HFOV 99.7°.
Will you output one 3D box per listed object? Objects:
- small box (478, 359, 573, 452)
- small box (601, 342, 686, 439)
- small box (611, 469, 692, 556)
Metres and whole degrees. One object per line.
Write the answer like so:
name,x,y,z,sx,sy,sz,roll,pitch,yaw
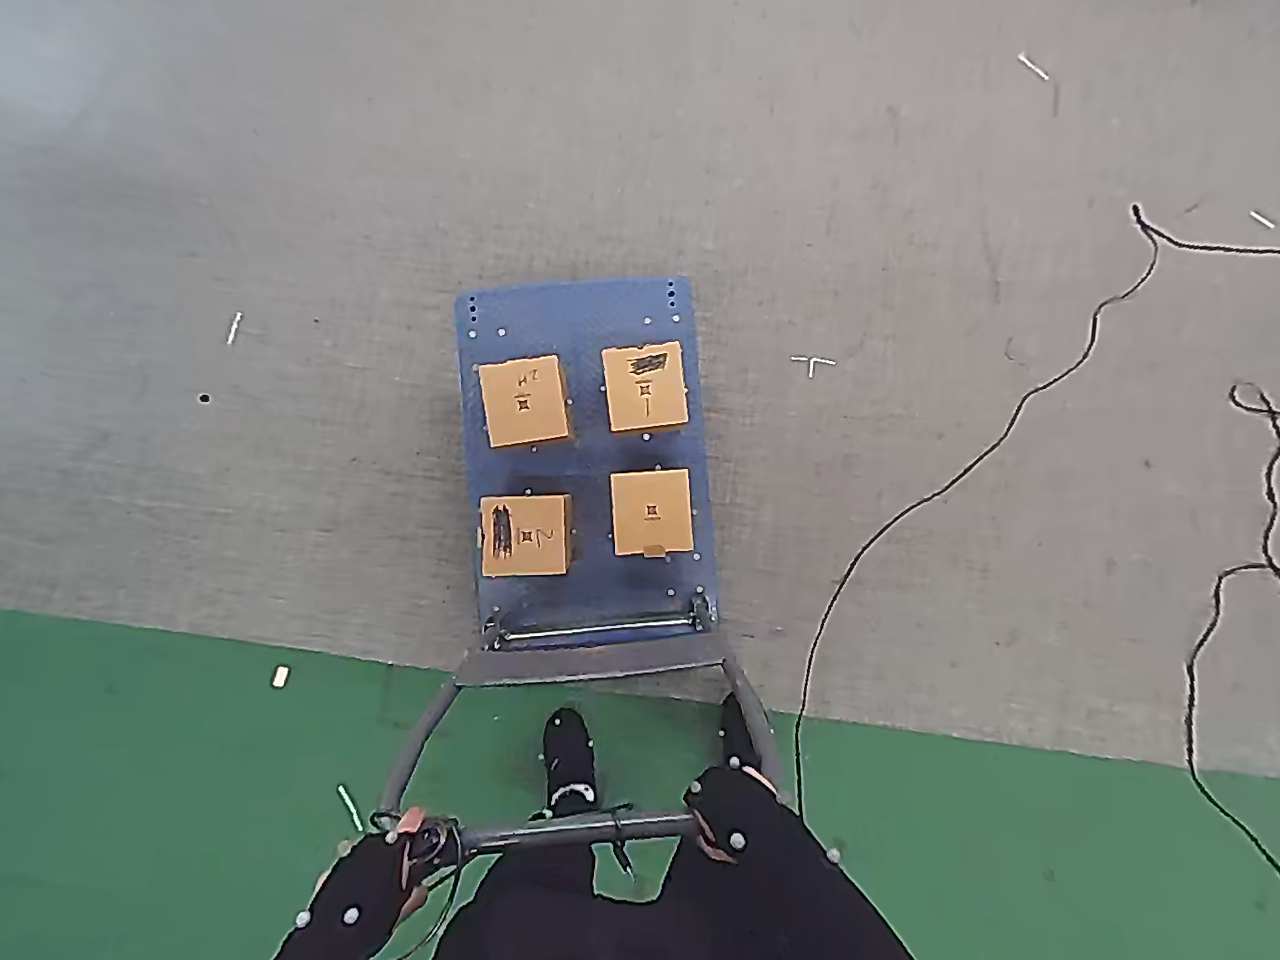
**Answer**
small box,-0.248,-0.158,1.209,0.168,0.176,0.179,-8,90,-1
small box,0.004,-0.195,1.217,0.168,0.176,0.179,-7,90,-1
small box,0.020,0.070,1.215,0.168,0.176,0.179,-4,90,-1
